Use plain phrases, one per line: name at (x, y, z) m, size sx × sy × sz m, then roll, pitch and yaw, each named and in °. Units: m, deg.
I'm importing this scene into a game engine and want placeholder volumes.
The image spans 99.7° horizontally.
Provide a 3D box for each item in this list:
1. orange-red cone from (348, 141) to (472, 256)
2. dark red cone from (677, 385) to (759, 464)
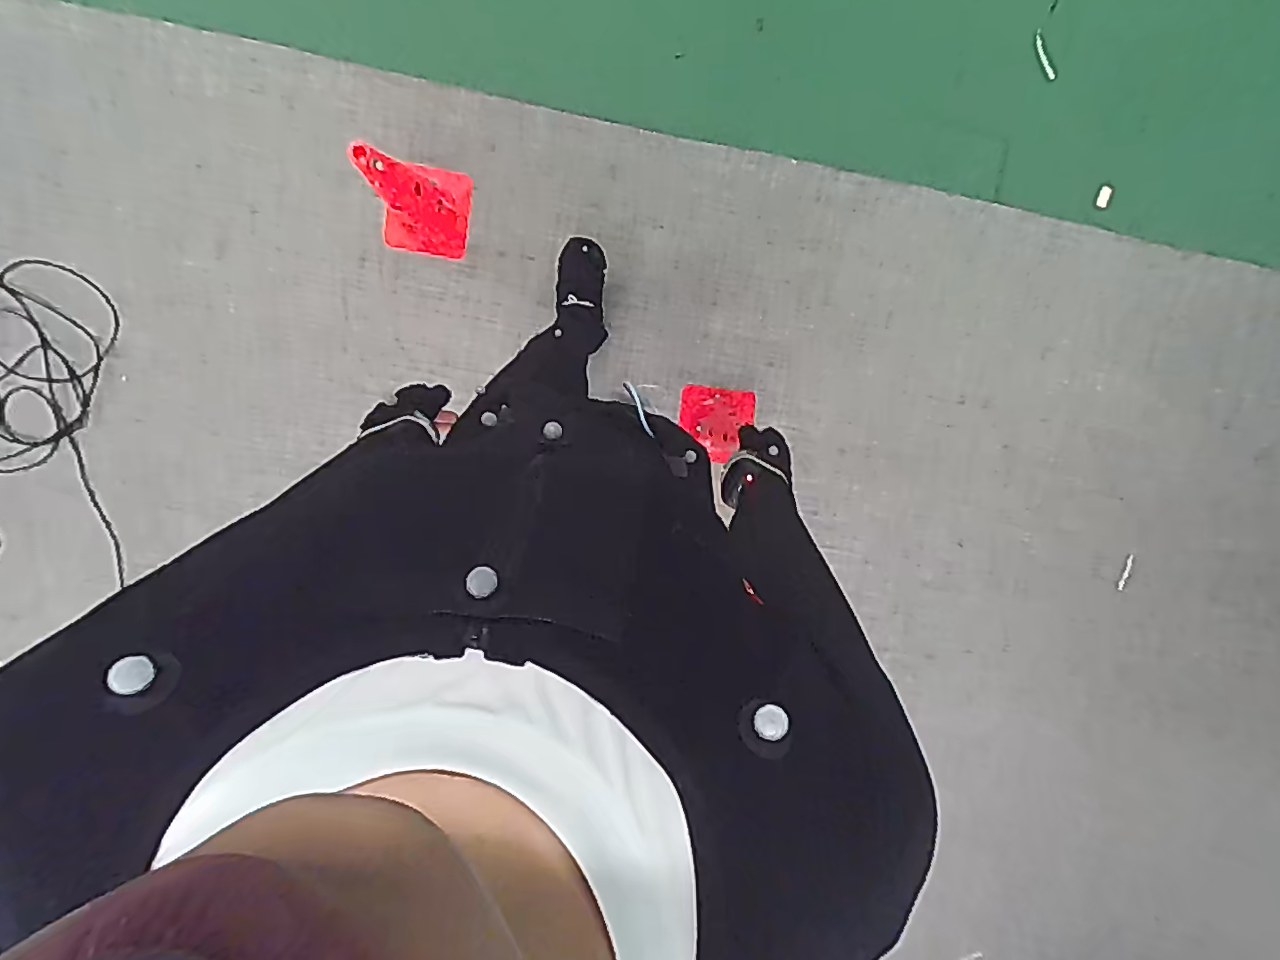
orange-red cone at (-0.514, -0.629, 1.153) m, size 0.198 × 0.360 × 0.199 m, roll 10°, pitch 102°, yaw -3°
dark red cone at (0.209, -0.115, 1.257) m, size 0.202 × 0.394 × 0.201 m, roll 5°, pitch 100°, yaw -3°
